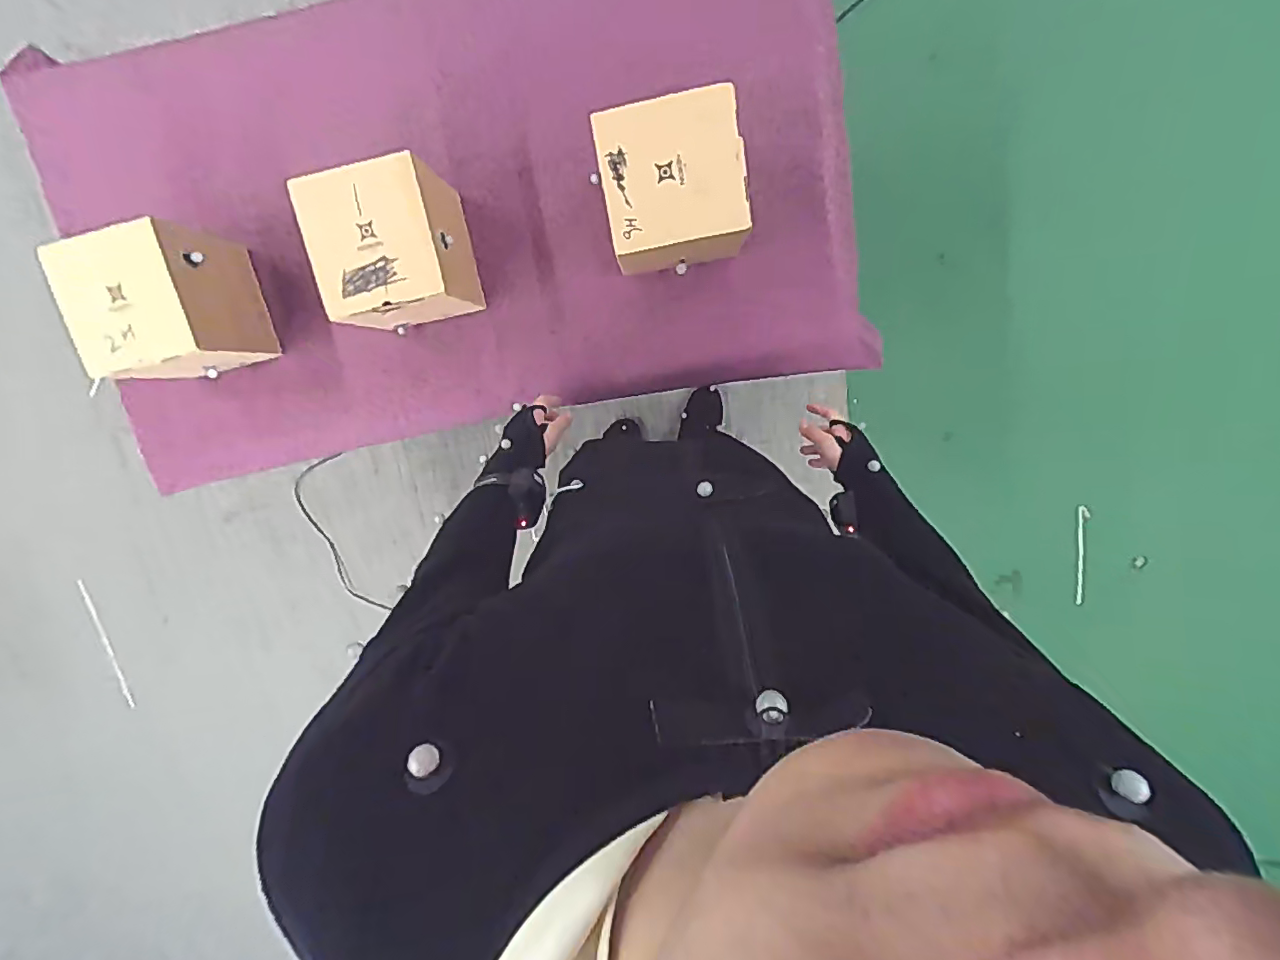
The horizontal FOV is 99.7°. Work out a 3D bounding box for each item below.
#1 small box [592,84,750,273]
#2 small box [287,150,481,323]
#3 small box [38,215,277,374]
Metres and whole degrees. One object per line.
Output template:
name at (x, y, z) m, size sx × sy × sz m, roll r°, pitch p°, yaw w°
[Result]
small box at (0.041, -0.392, 0.734) m, size 0.179 × 0.176 × 0.168 m, roll -9°, pitch 101°, yaw 4°
small box at (-0.343, -0.325, 0.763) m, size 0.168 × 0.176 × 0.179 m, roll -11°, pitch 100°, yaw 4°
small box at (-0.682, -0.256, 0.789) m, size 0.168 × 0.176 × 0.179 m, roll -12°, pitch 101°, yaw 5°
